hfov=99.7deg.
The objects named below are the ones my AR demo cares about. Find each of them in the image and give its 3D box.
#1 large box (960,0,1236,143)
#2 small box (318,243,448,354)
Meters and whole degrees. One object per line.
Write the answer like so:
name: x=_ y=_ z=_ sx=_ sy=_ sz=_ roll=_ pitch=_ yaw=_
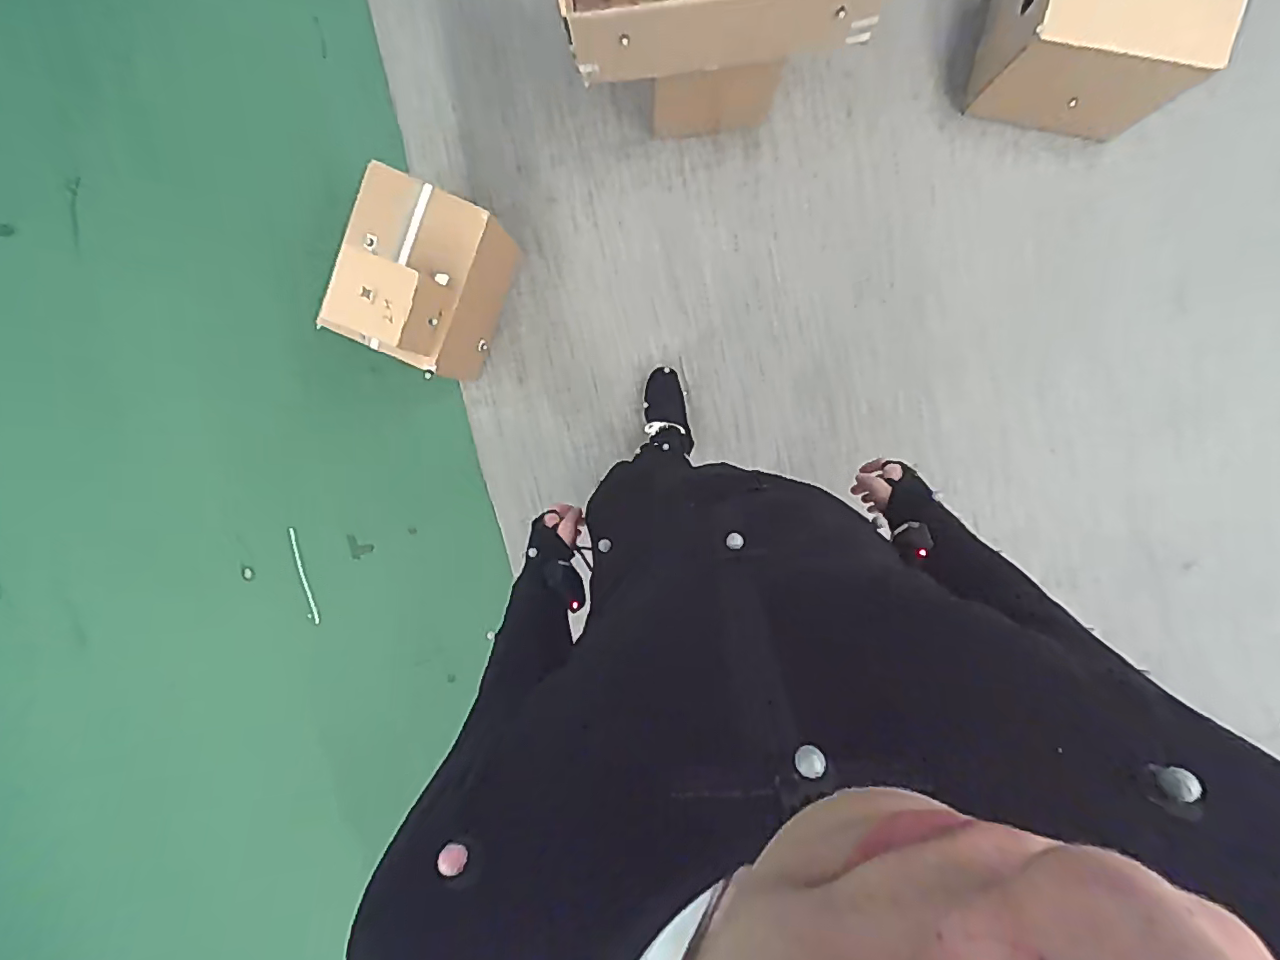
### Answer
large box: x=1.081 y=-1.070 z=1.301 sx=0.408 sy=0.320 sz=0.320 roll=11 pitch=96 yaw=2
small box: x=-0.558 y=-0.388 z=1.194 sx=0.179 sy=0.176 sz=0.168 roll=22 pitch=97 yaw=-1
